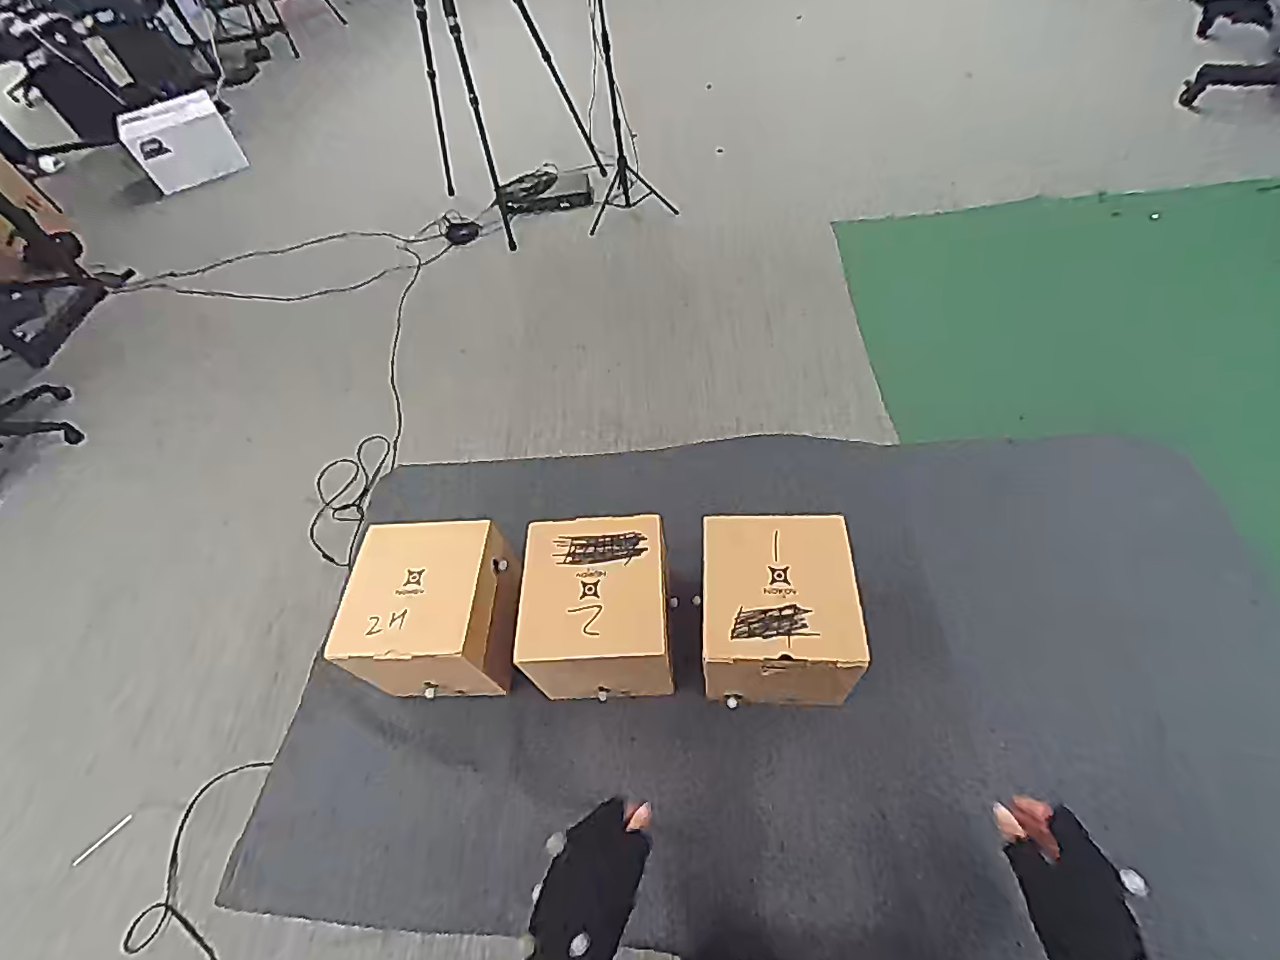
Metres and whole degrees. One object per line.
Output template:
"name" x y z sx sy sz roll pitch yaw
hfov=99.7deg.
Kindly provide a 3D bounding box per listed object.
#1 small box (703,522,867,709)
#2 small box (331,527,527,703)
"small box" 0.164 0.168 0.658 0.168 0.176 0.179 0 53 8
"small box" -0.257 0.179 0.712 0.168 0.176 0.179 -3 54 6
